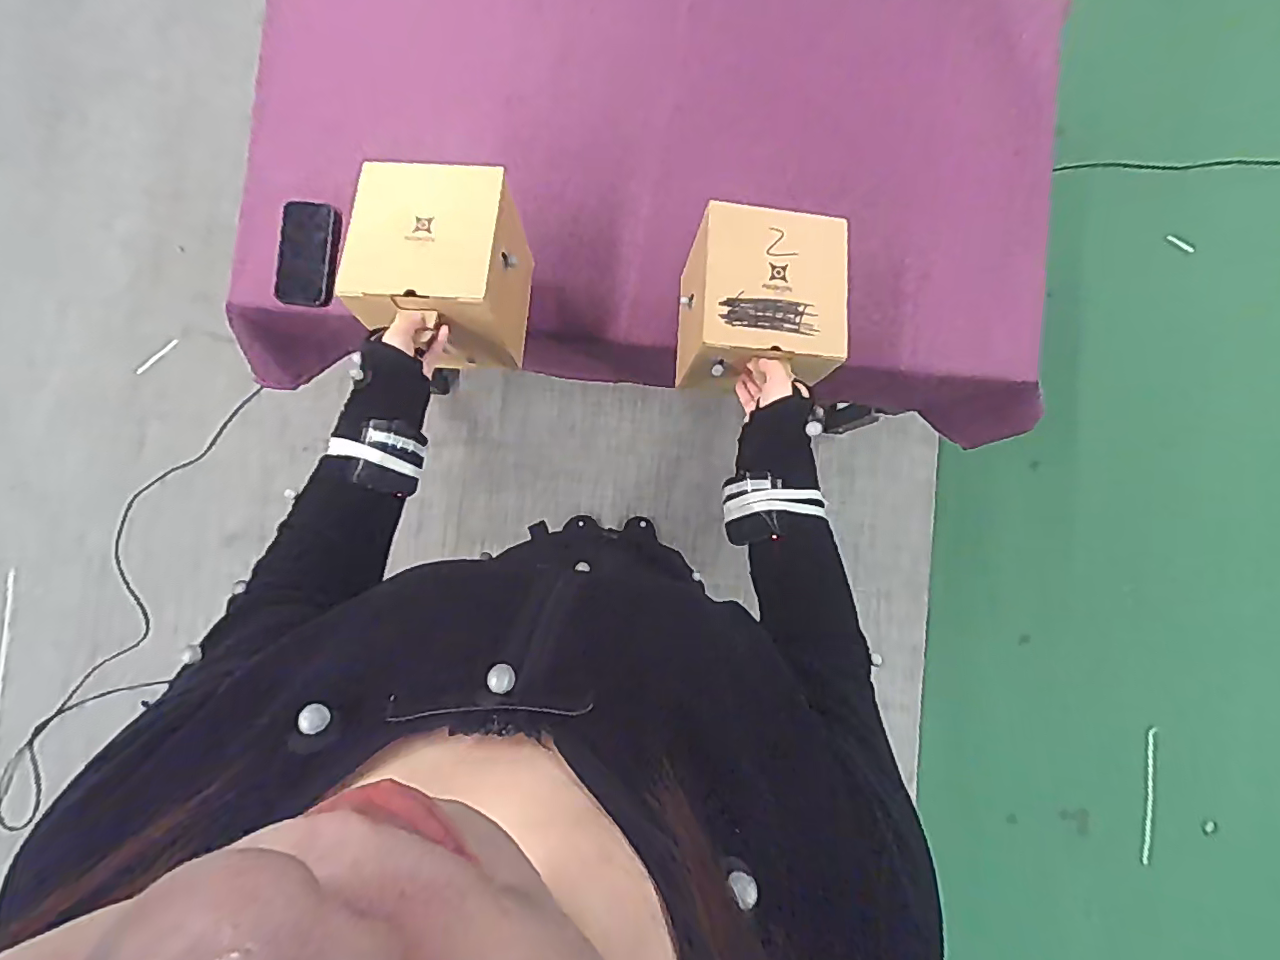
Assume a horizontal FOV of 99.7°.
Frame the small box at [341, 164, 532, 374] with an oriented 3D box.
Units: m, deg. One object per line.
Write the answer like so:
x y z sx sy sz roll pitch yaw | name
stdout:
-0.236 -0.254 0.678 0.168 0.176 0.179 4 75 0 | small box
